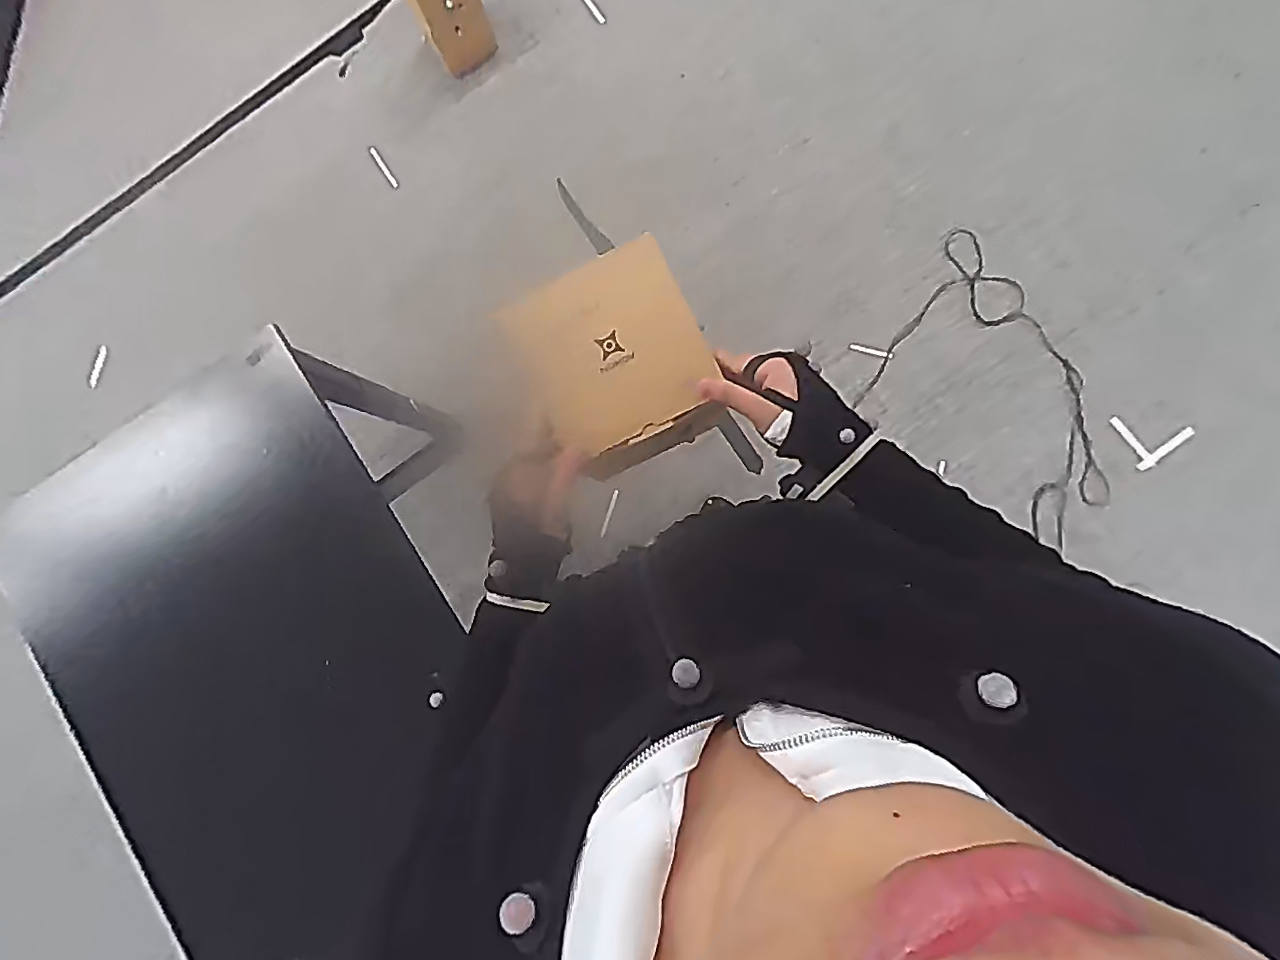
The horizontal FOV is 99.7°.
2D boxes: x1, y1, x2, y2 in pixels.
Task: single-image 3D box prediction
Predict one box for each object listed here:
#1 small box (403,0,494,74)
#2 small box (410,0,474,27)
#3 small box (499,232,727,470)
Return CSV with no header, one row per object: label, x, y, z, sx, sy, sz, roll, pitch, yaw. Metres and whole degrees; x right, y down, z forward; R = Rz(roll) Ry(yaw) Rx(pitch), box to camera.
small box,-0.558,-1.350,1.578,0.179,0.176,0.168,-34,85,0
small box,-0.563,-1.358,1.413,0.168,0.176,0.179,-34,86,1
small box,-0.020,-0.119,0.585,0.168,0.176,0.179,-26,84,2
